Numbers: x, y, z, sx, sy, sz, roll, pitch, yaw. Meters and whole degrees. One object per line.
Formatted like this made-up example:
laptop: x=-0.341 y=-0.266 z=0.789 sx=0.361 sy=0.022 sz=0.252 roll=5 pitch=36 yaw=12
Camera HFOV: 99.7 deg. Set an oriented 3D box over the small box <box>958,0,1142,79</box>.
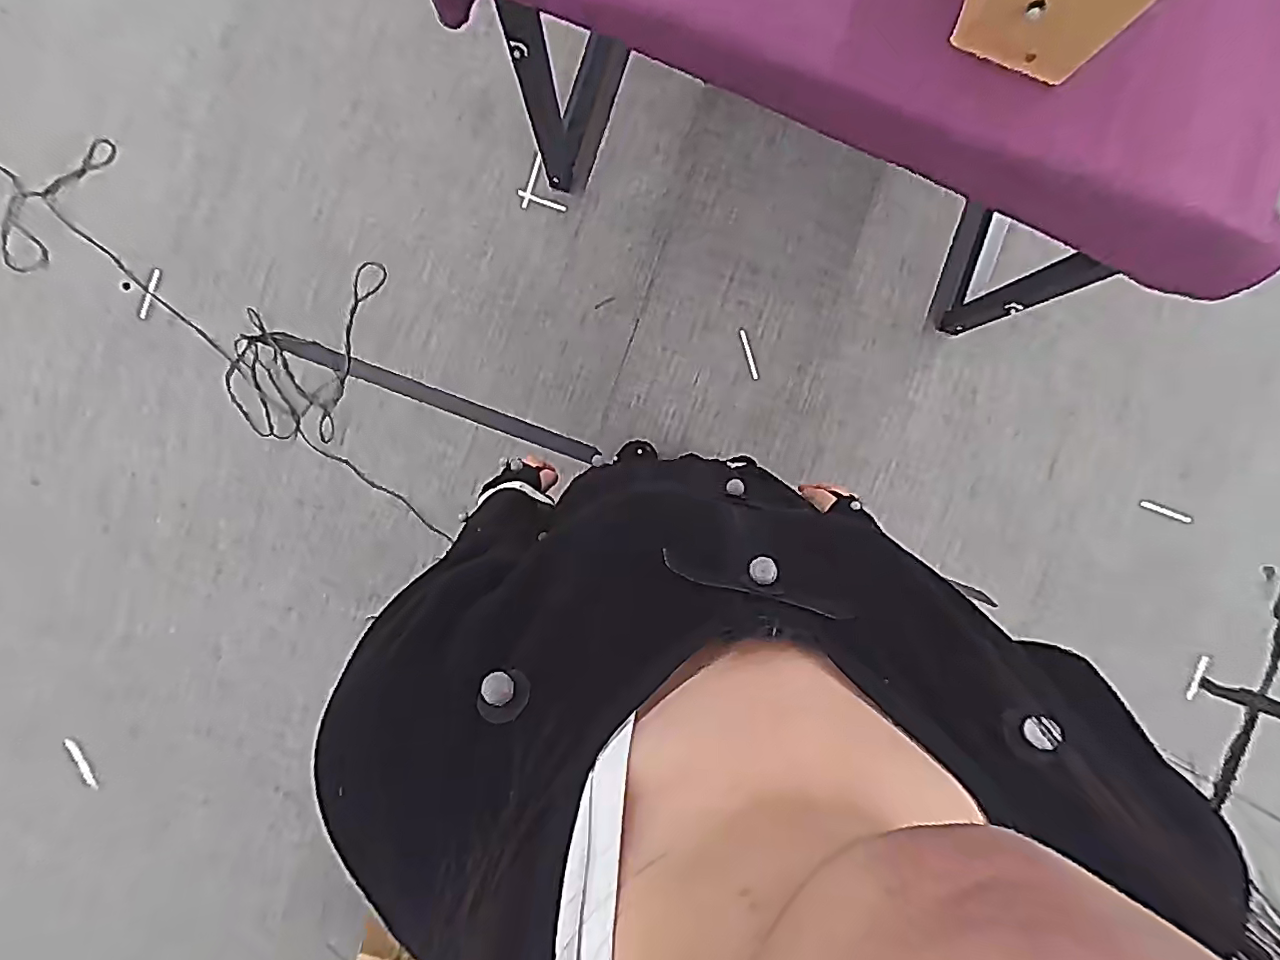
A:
small box: x=0.538 y=-0.657 z=0.673 sx=0.168 sy=0.176 sz=0.179 roll=20 pitch=92 yaw=-2
